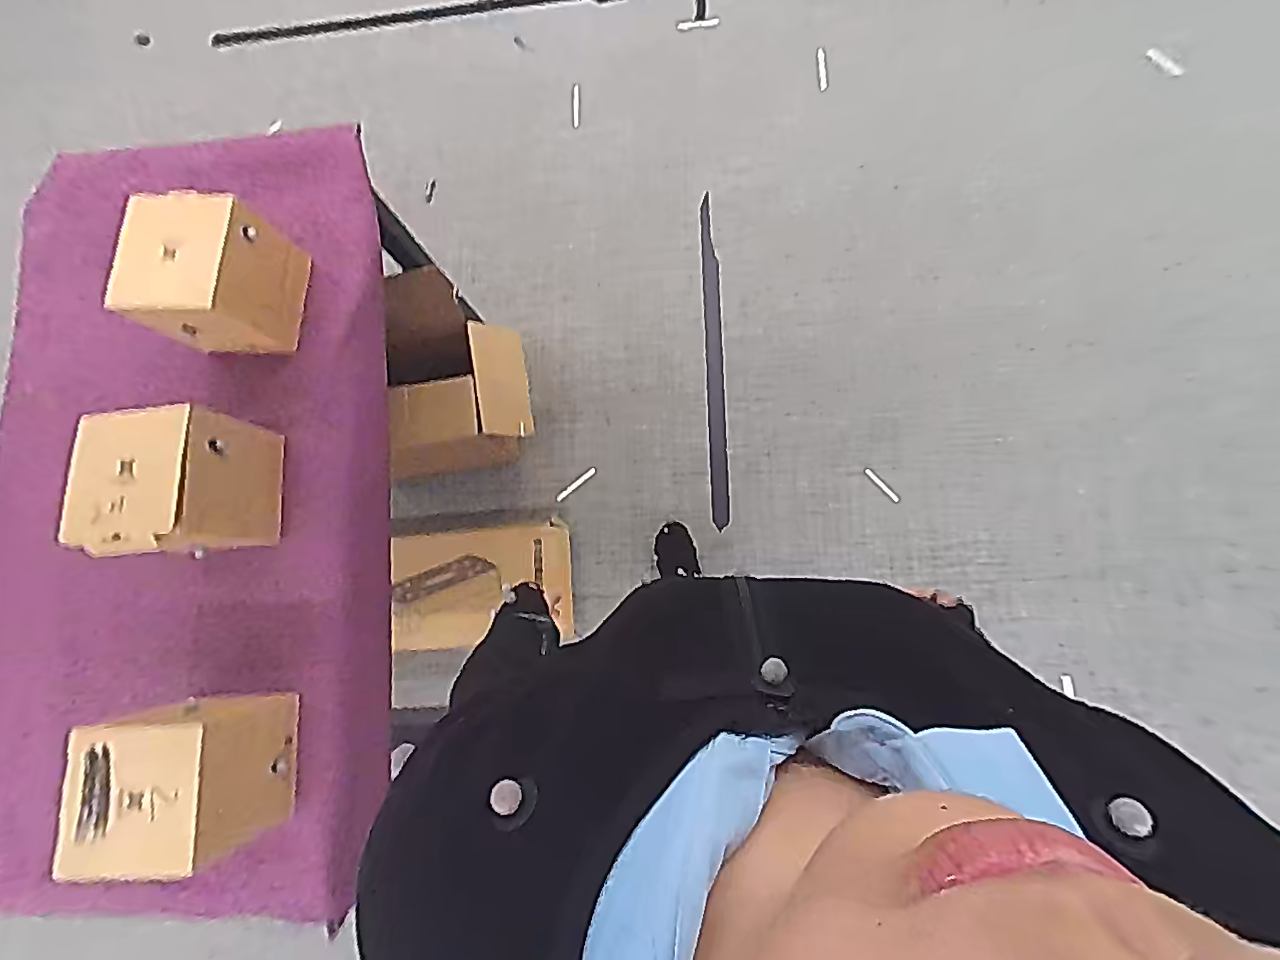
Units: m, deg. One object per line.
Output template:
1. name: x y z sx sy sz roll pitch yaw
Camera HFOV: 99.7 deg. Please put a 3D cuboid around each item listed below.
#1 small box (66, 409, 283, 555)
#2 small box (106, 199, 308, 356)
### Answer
1. small box: -0.652 0.012 0.780 0.168 0.176 0.179 -6 80 6
2. small box: -0.651 -0.302 0.837 0.168 0.176 0.179 2 80 5
